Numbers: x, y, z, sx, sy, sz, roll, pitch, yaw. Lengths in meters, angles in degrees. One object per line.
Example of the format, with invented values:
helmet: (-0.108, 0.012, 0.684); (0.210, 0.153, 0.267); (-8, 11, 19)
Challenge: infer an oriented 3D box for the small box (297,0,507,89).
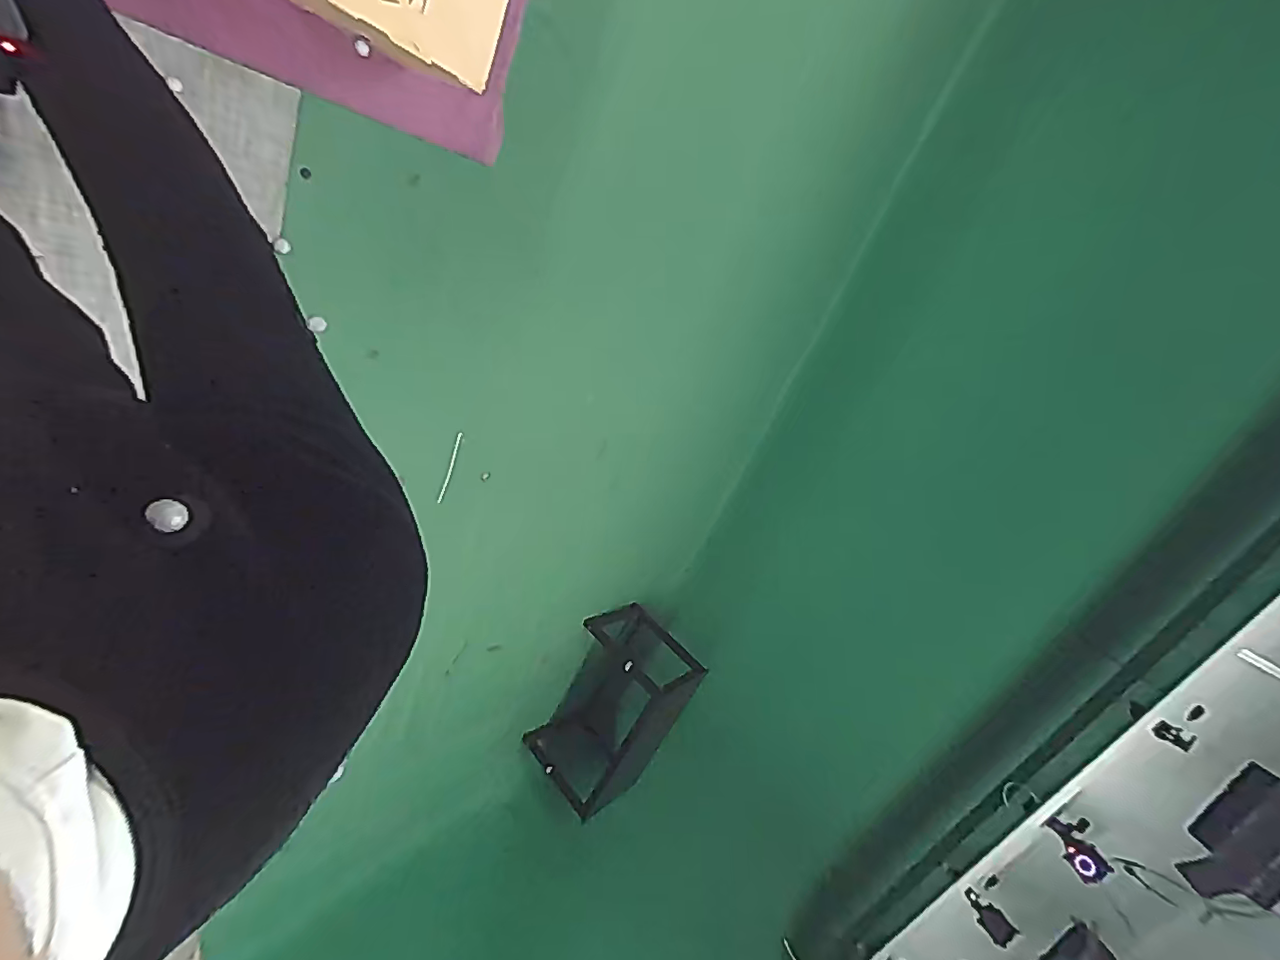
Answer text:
small box: (-0.240, -0.532, 0.526); (0.168, 0.176, 0.179); (-3, 126, -51)
